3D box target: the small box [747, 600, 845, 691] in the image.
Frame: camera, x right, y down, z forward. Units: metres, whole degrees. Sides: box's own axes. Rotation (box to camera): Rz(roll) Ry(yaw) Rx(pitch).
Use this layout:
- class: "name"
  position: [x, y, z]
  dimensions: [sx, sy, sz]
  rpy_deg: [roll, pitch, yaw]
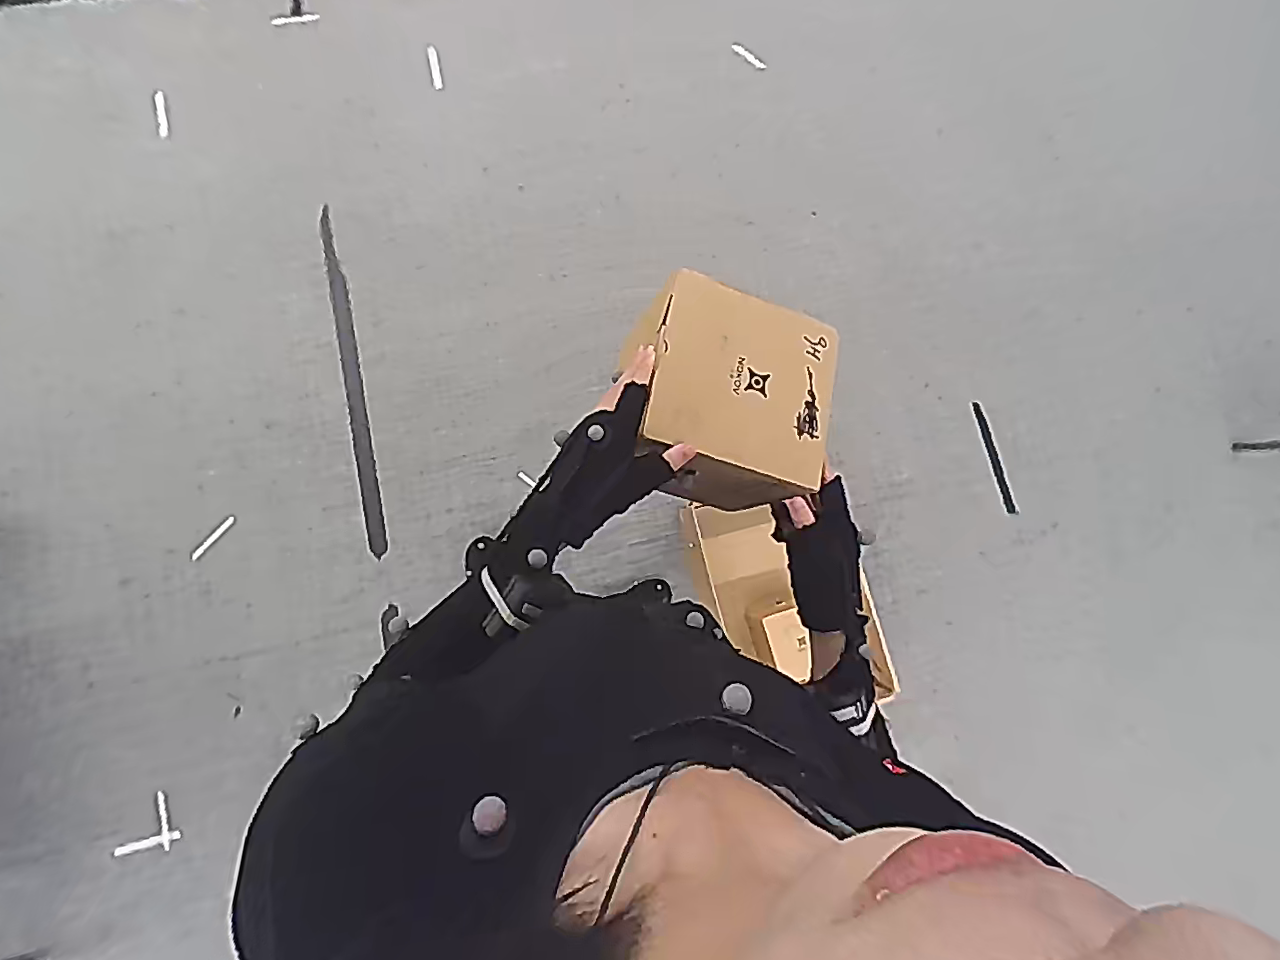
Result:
- class: "small box"
  position: [0.399, 0.423, 1.409]
  dimensions: [0.168, 0.176, 0.179]
  rpy_deg: [-16, 82, -7]

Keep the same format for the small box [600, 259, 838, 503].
- class: "small box"
  position: [0.069, -0.082, 0.547]
  dimensions: [0.179, 0.176, 0.168]
  rpy_deg: [15, 76, -13]
